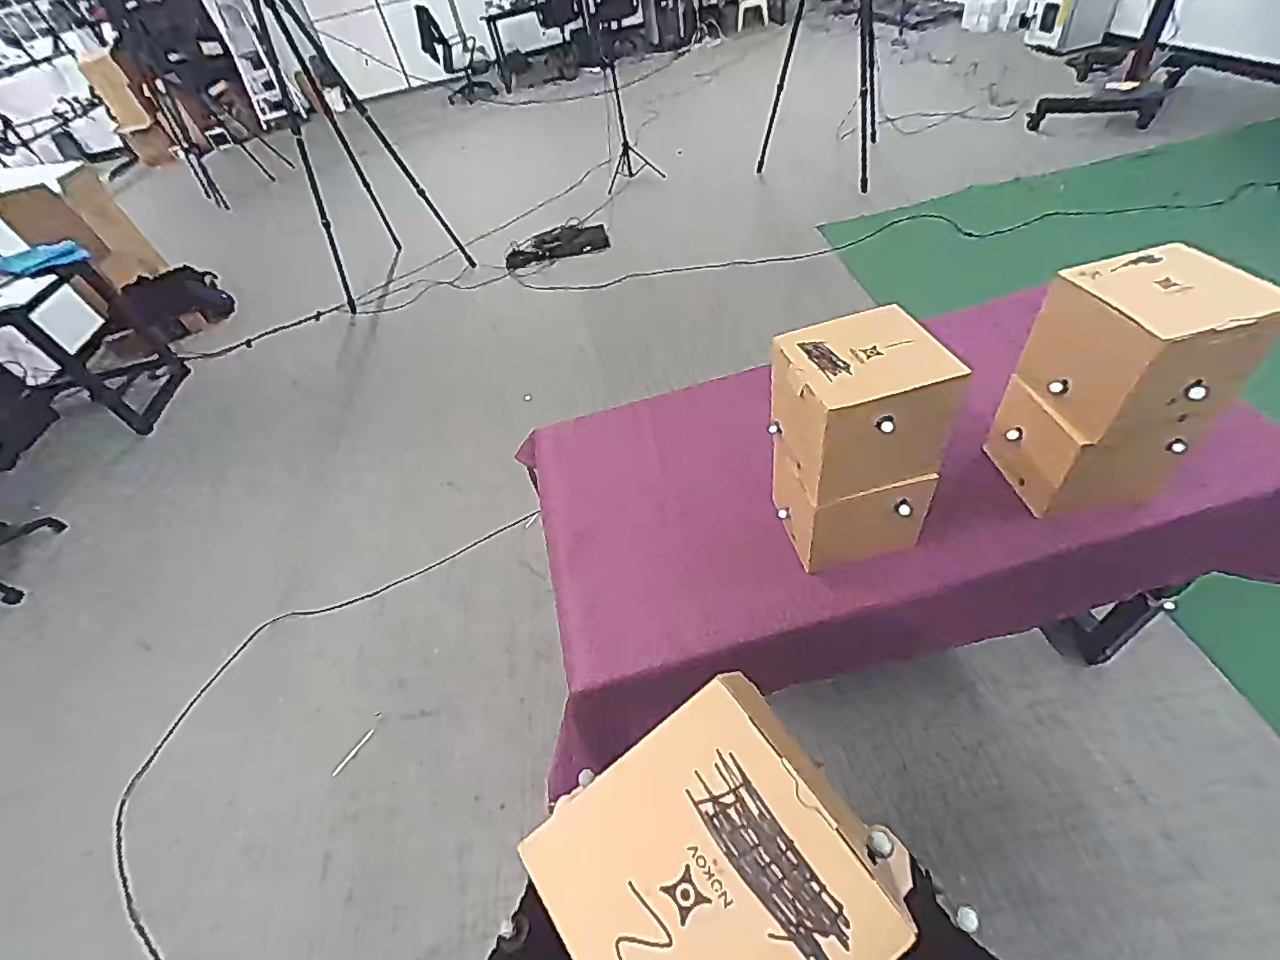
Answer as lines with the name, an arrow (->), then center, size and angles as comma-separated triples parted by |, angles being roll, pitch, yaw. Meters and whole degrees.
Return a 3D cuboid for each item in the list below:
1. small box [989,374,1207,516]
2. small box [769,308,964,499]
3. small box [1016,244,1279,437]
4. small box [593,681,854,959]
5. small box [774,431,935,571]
small box -> 0.671, -0.064, 0.828 | 0.179, 0.176, 0.168 | -11, 47, 3
small box -> 0.285, -0.097, 0.723 | 0.179, 0.176, 0.168 | -15, 47, -2
small box -> 0.646, -0.174, 0.708 | 0.168, 0.176, 0.179 | -13, 47, 1
small box -> 0.086, 0.324, 0.543 | 0.179, 0.176, 0.168 | -37, 66, 0
small box -> 0.315, 0.016, 0.838 | 0.179, 0.176, 0.168 | -14, 46, 1
